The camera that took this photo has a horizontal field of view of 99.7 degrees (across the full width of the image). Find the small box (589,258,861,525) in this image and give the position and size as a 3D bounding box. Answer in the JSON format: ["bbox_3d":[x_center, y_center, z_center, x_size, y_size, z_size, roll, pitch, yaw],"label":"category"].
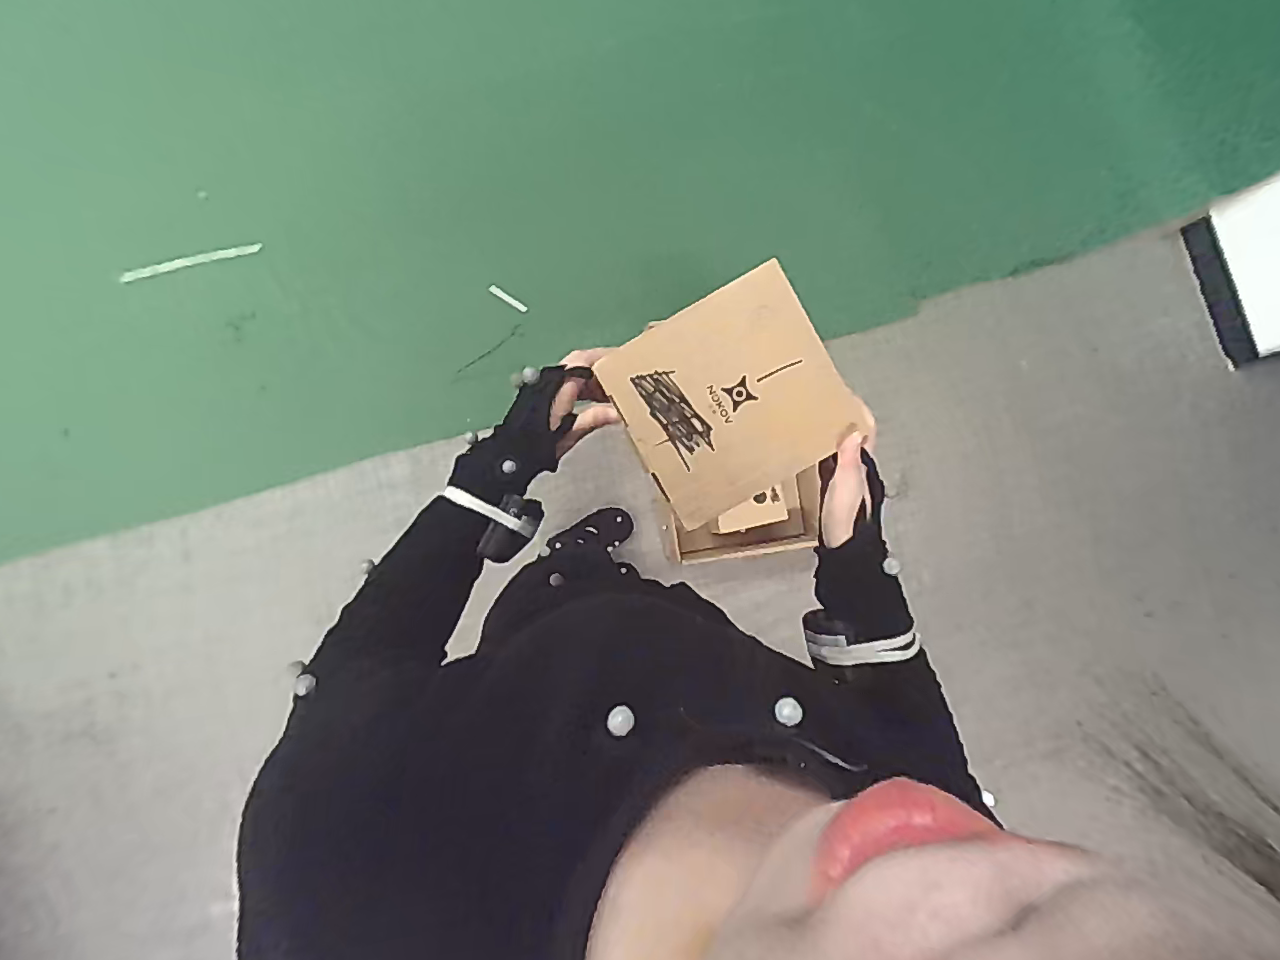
[{"bbox_3d":[0.073,-0.074,0.526,0.179,0.176,0.168,-29,92,3],"label":"small box"}]
